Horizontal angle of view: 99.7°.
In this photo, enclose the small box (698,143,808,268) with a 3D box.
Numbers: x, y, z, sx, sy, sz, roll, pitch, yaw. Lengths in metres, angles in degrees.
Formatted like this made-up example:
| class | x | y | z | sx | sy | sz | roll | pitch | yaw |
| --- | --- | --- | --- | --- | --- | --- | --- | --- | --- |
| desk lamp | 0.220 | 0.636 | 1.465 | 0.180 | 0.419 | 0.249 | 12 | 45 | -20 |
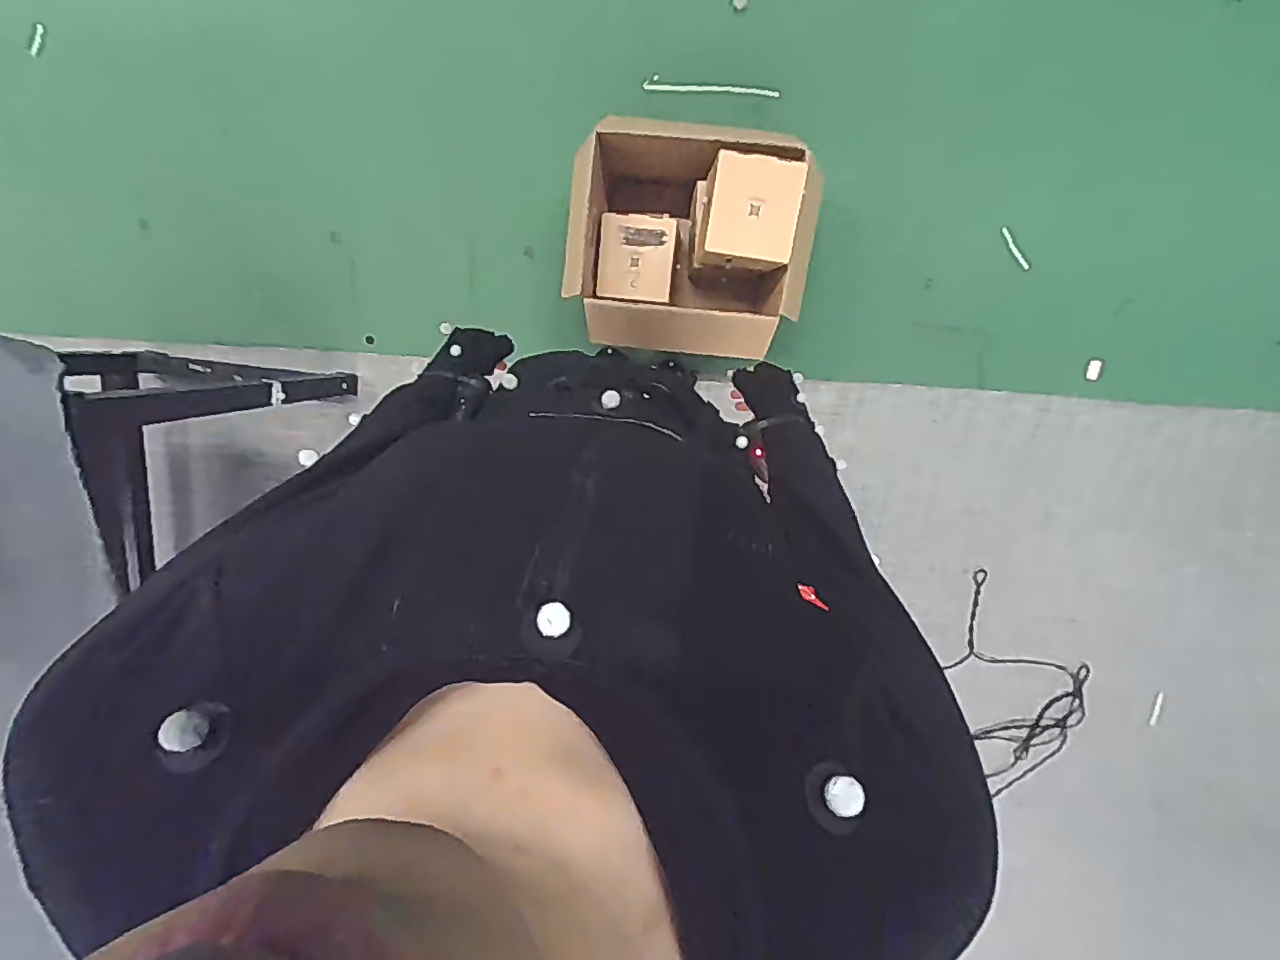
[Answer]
| class | x | y | z | sx | sy | sz | roll | pitch | yaw |
| --- | --- | --- | --- | --- | --- | --- | --- | --- | --- |
| small box | 0.211 | -0.527 | 1.064 | 0.168 | 0.176 | 0.179 | 8 | 104 | -2 |
